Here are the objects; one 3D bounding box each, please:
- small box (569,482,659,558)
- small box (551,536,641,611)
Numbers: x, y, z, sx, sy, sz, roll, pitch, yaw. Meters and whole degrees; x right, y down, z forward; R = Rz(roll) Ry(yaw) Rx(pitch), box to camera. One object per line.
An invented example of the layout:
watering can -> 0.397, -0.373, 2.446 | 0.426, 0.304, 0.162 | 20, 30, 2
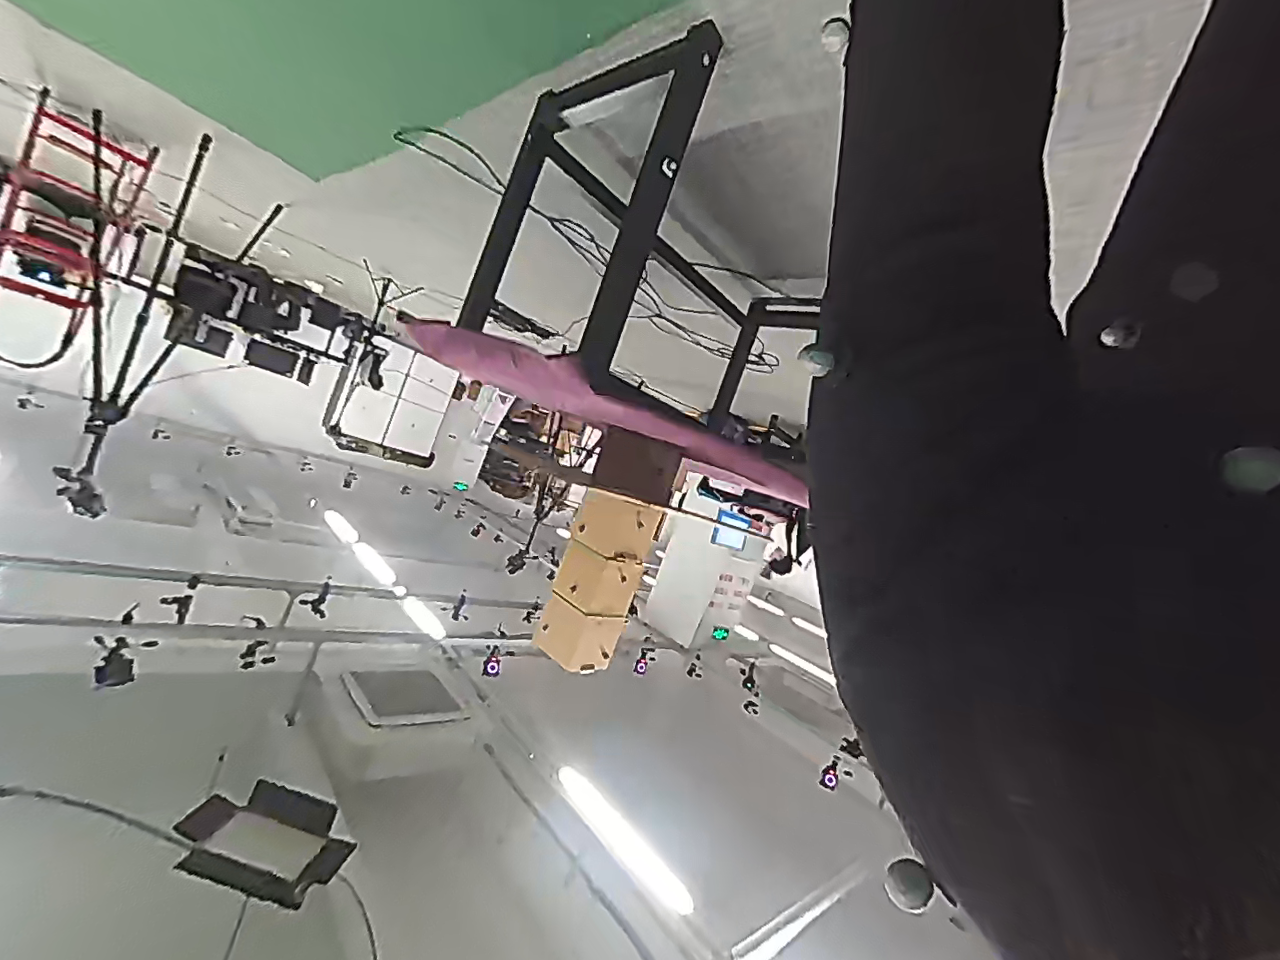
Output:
small box -> -0.072, 0.114, 1.591 | 0.179, 0.176, 0.168 | 22, -178, 41
small box -> -0.124, 0.268, 1.591 | 0.179, 0.176, 0.168 | 21, -179, 43
